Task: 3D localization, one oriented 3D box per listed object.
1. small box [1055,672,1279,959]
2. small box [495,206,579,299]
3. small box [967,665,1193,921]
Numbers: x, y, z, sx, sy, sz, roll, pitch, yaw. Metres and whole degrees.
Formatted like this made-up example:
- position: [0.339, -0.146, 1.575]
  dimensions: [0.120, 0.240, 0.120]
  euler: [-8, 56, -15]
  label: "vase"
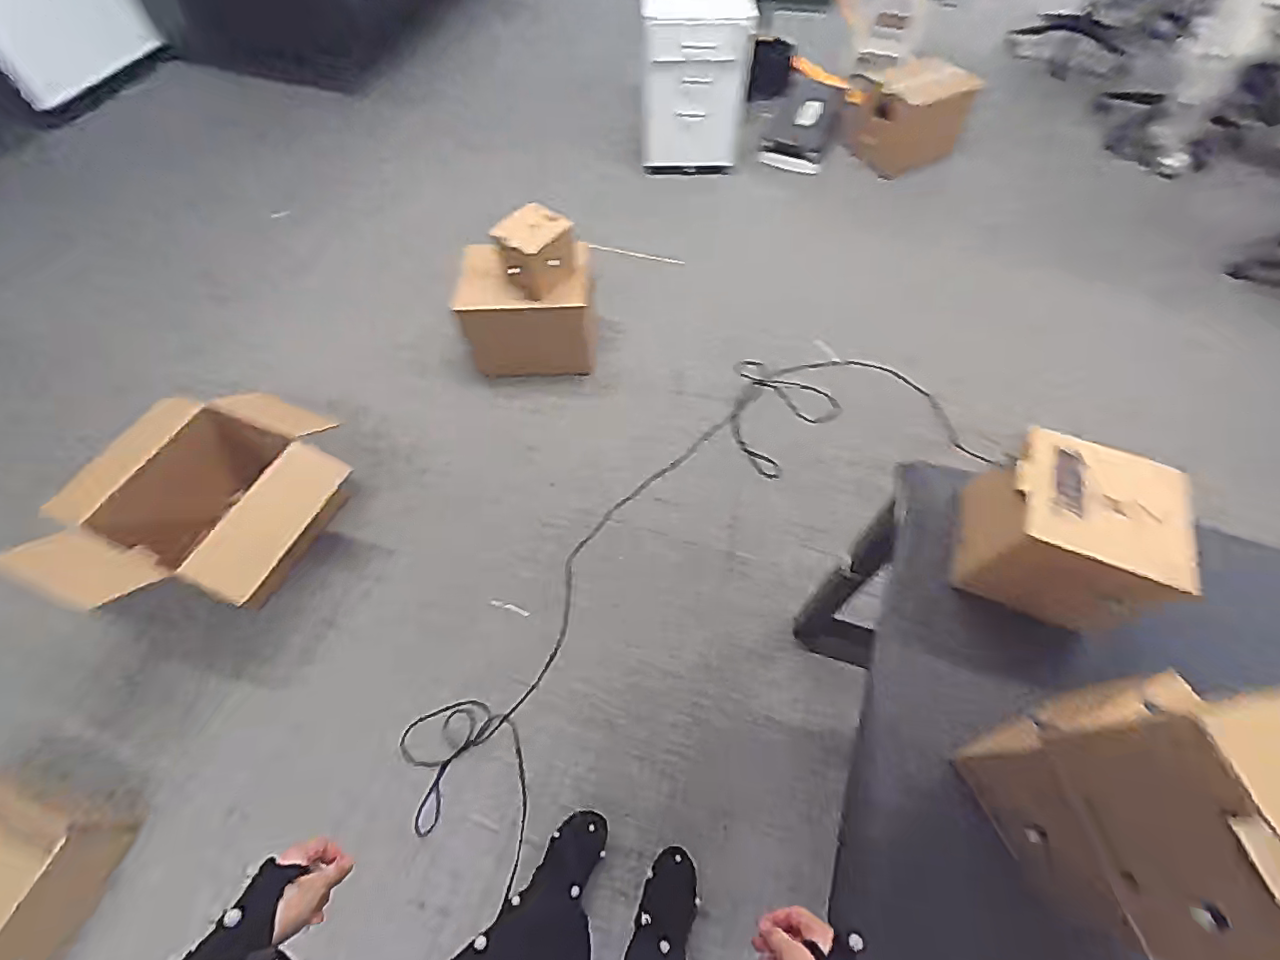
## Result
- position: [0.462, 0.242, 0.400]
  dimensions: [0.179, 0.176, 0.168]
  euler: [-9, 61, -6]
  label: "small box"
- position: [-0.303, -0.684, 1.639]
  dimensions: [0.168, 0.176, 0.179]
  euler: [36, 67, 19]
  label: "small box"
- position: [0.473, 0.314, 0.547]
  dimensions: [0.179, 0.176, 0.168]
  euler: [-19, 62, -12]
  label: "small box"
